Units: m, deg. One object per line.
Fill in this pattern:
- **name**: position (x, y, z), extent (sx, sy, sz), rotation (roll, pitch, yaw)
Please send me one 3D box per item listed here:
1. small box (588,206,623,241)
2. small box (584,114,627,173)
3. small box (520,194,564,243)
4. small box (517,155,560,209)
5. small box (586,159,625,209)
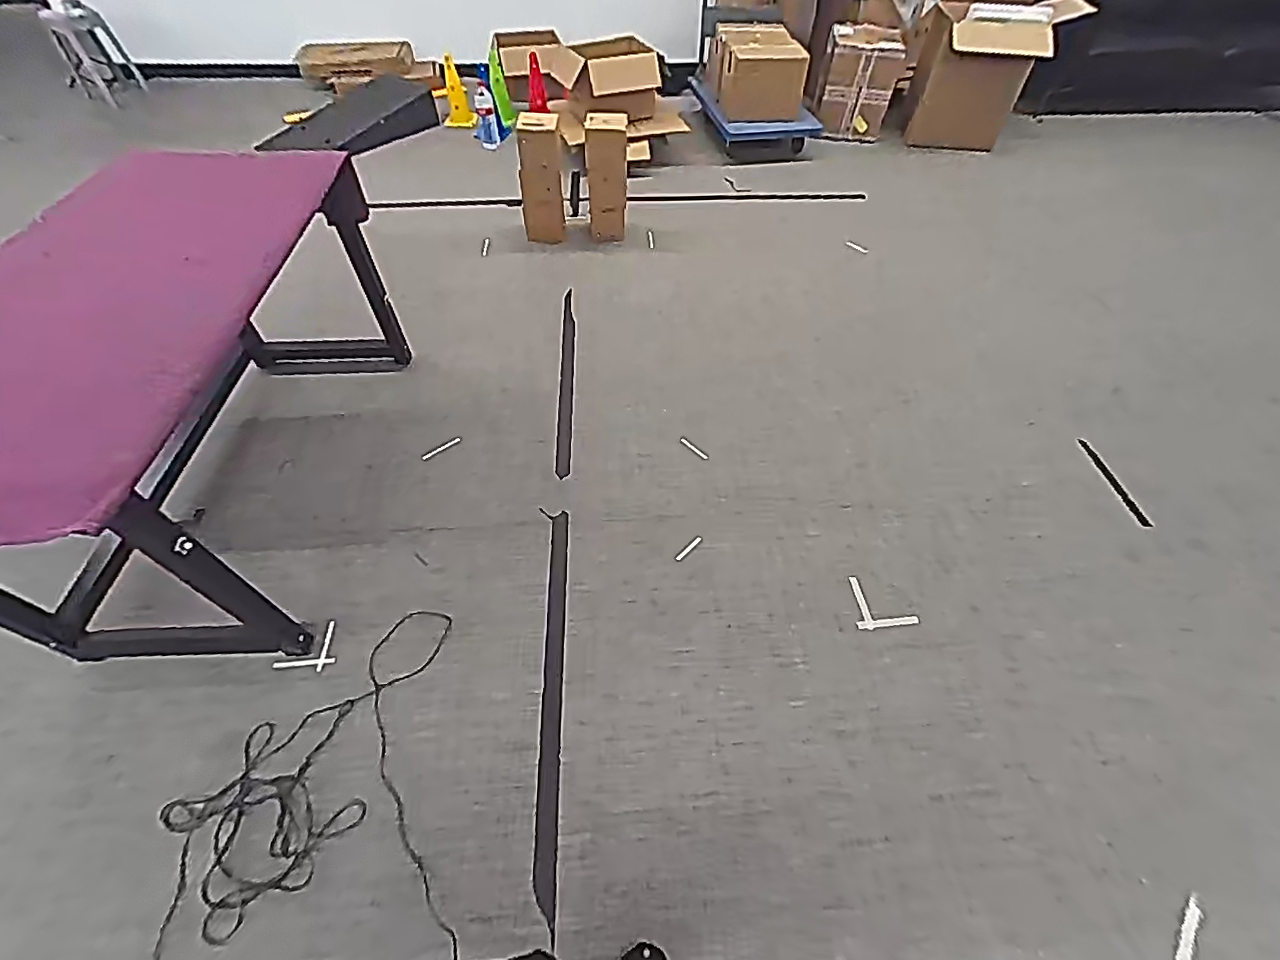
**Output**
- **small box**: position (-0.168, -1.289, 2.640), extent (0.168, 0.176, 0.179), rotation (-2, 53, -4)
- **small box**: position (-0.152, -1.470, 2.365), extent (0.179, 0.176, 0.168), rotation (3, 53, -1)
- **small box**: position (-0.469, -1.267, 2.615), extent (0.179, 0.176, 0.168), rotation (3, 53, 0)
- **small box**: position (-0.461, -1.371, 2.490), extent (0.168, 0.176, 0.179), rotation (2, 52, -2)
- **small box**: position (-0.157, -1.374, 2.499), extent (0.179, 0.176, 0.168), rotation (0, 54, -3)
